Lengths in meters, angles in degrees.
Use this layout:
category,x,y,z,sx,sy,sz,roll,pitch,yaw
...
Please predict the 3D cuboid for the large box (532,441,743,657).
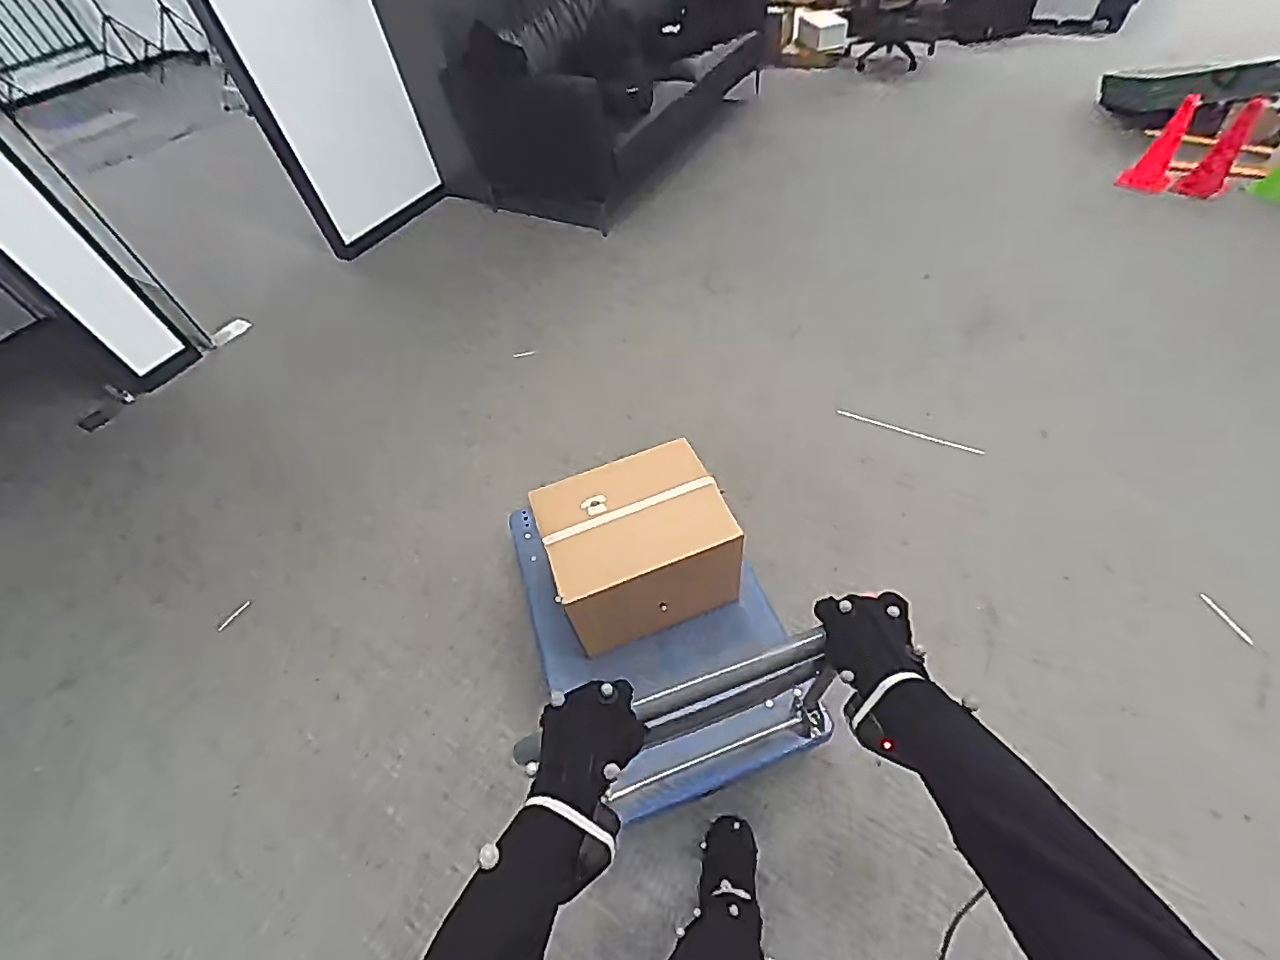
category,x,y,z,sx,sy,sz,roll,pitch,yaw
large box,0.001,0.172,1.323,0.408,0.320,0.320,-21,52,-8
